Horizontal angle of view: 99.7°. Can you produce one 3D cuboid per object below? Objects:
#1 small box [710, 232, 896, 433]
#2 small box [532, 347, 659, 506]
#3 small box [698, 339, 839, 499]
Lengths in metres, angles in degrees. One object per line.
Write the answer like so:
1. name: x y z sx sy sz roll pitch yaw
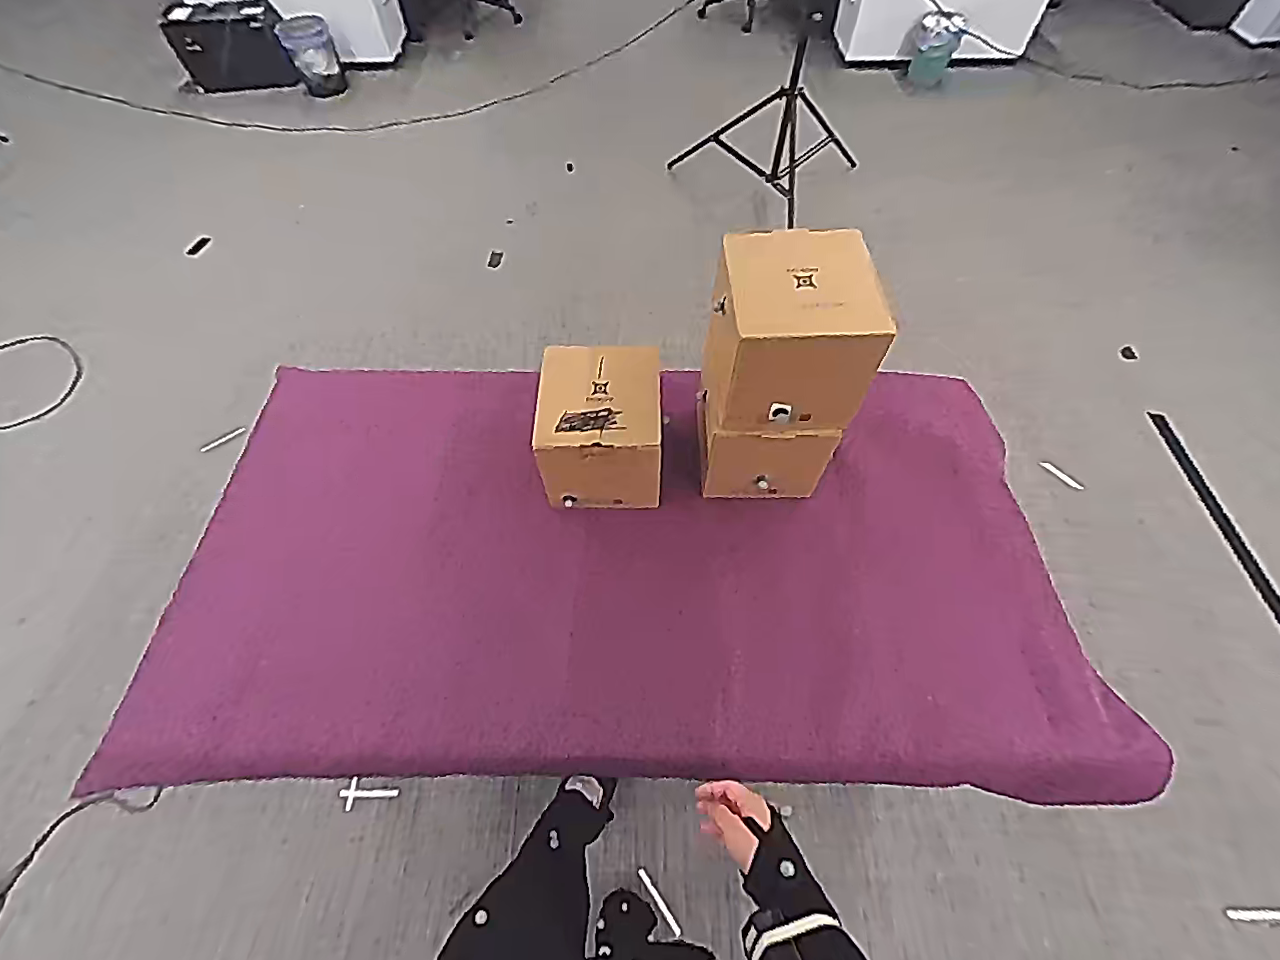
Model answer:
1. small box: 0.181 -0.178 0.668 0.168 0.176 0.179 -2 60 0
2. small box: -0.055 -0.072 0.795 0.168 0.176 0.179 0 59 0
3. small box: 0.177 -0.089 0.804 0.168 0.176 0.179 0 59 1
